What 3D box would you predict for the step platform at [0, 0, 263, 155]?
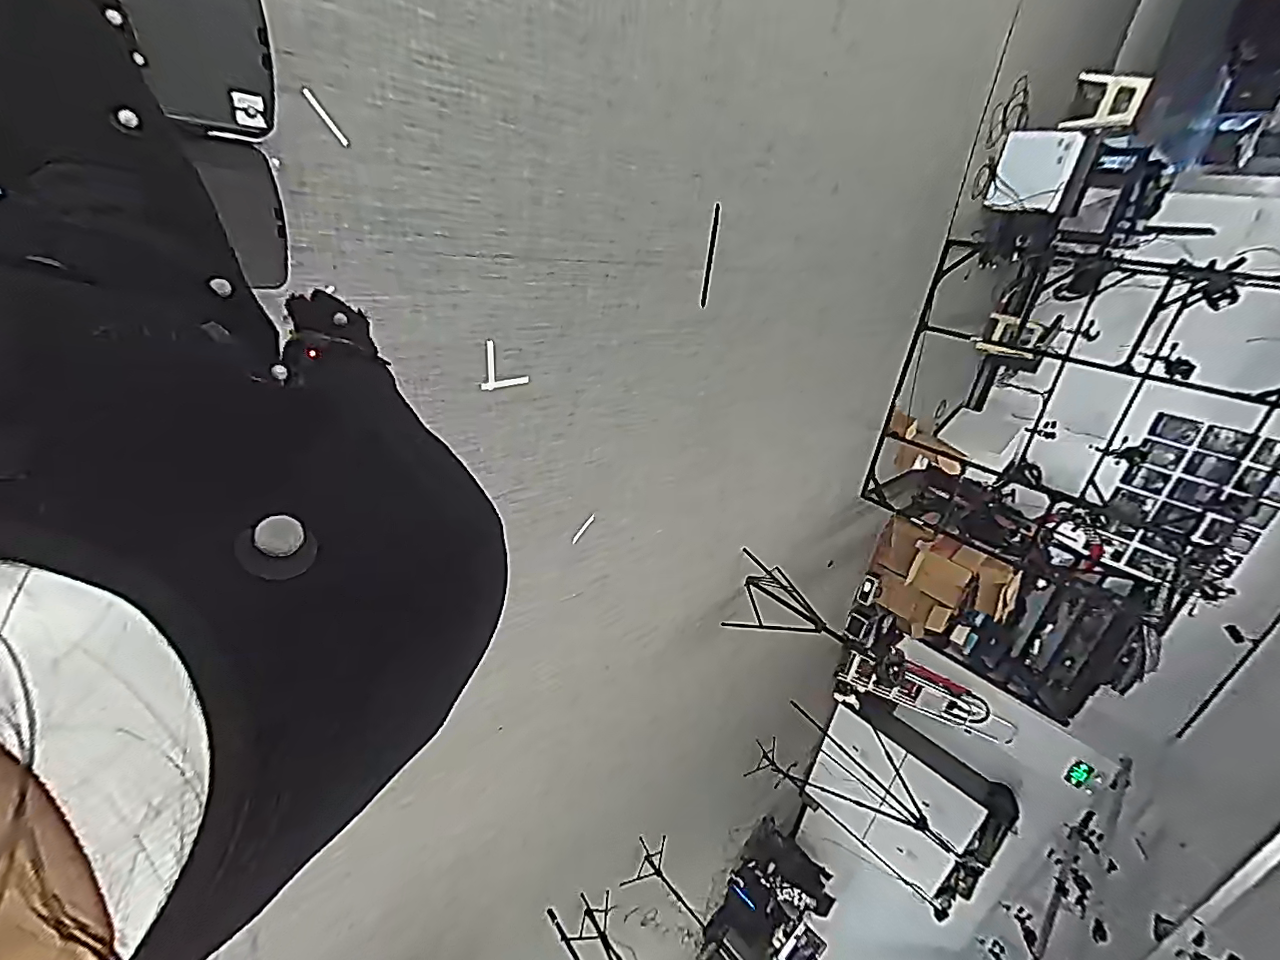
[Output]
[{"bbox_3d":[-0.983,-0.697,0.808,0.684,0.204,0.286,-19,127,-41],"label":"step platform"}]
